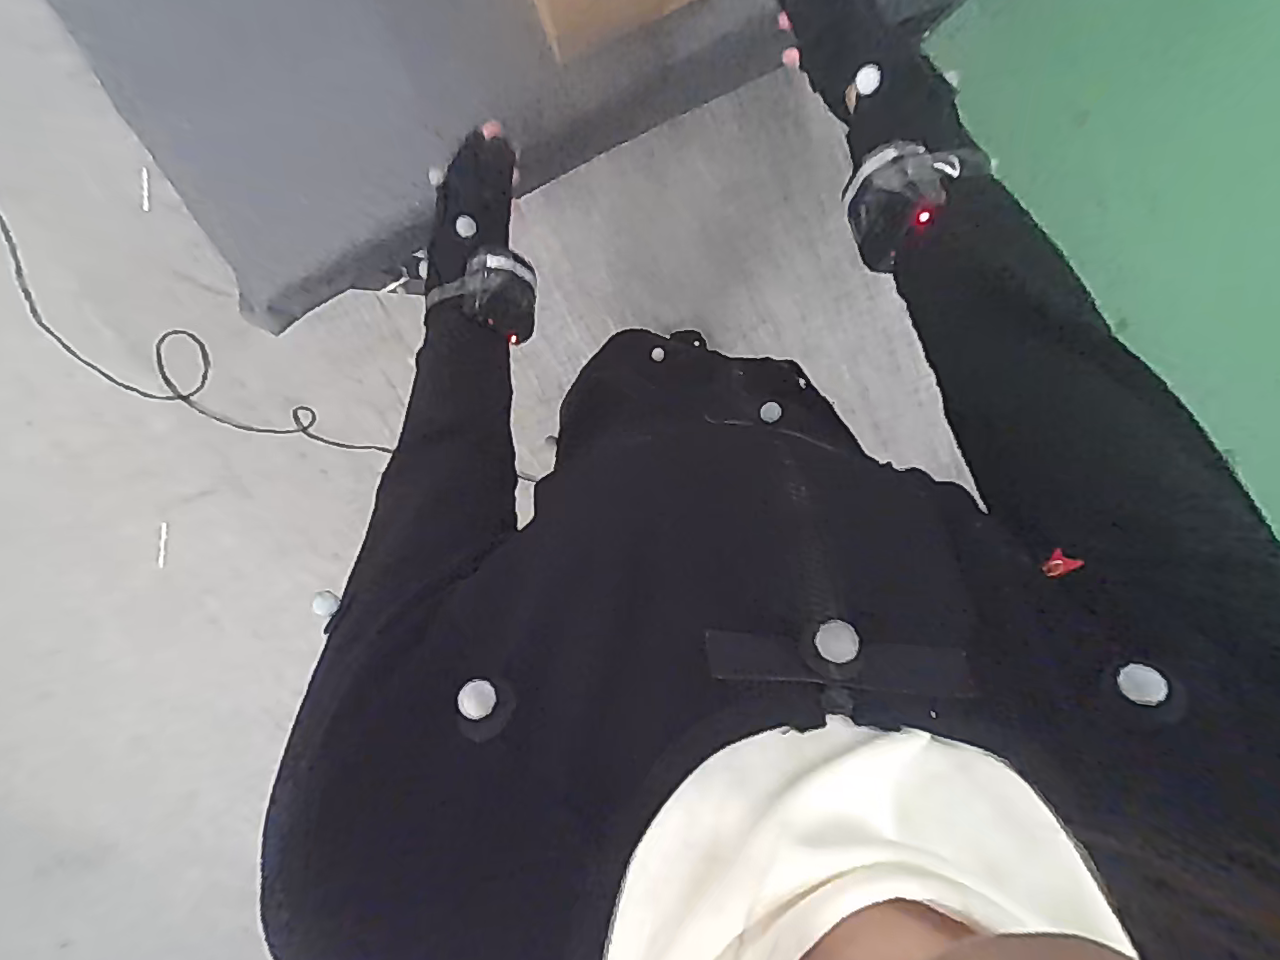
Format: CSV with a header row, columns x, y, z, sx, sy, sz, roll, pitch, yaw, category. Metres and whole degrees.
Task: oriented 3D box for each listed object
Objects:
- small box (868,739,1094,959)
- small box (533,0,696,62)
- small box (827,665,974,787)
x,y,z,sx,sy,sz,roll,pitch,yaw,category
0.441,0.493,0.723,0.168,0.176,0.179,-30,106,8,small box
-0.035,-0.501,0.448,0.179,0.176,0.168,-22,104,6,small box
0.434,0.441,0.879,0.168,0.176,0.179,-28,104,7,small box
